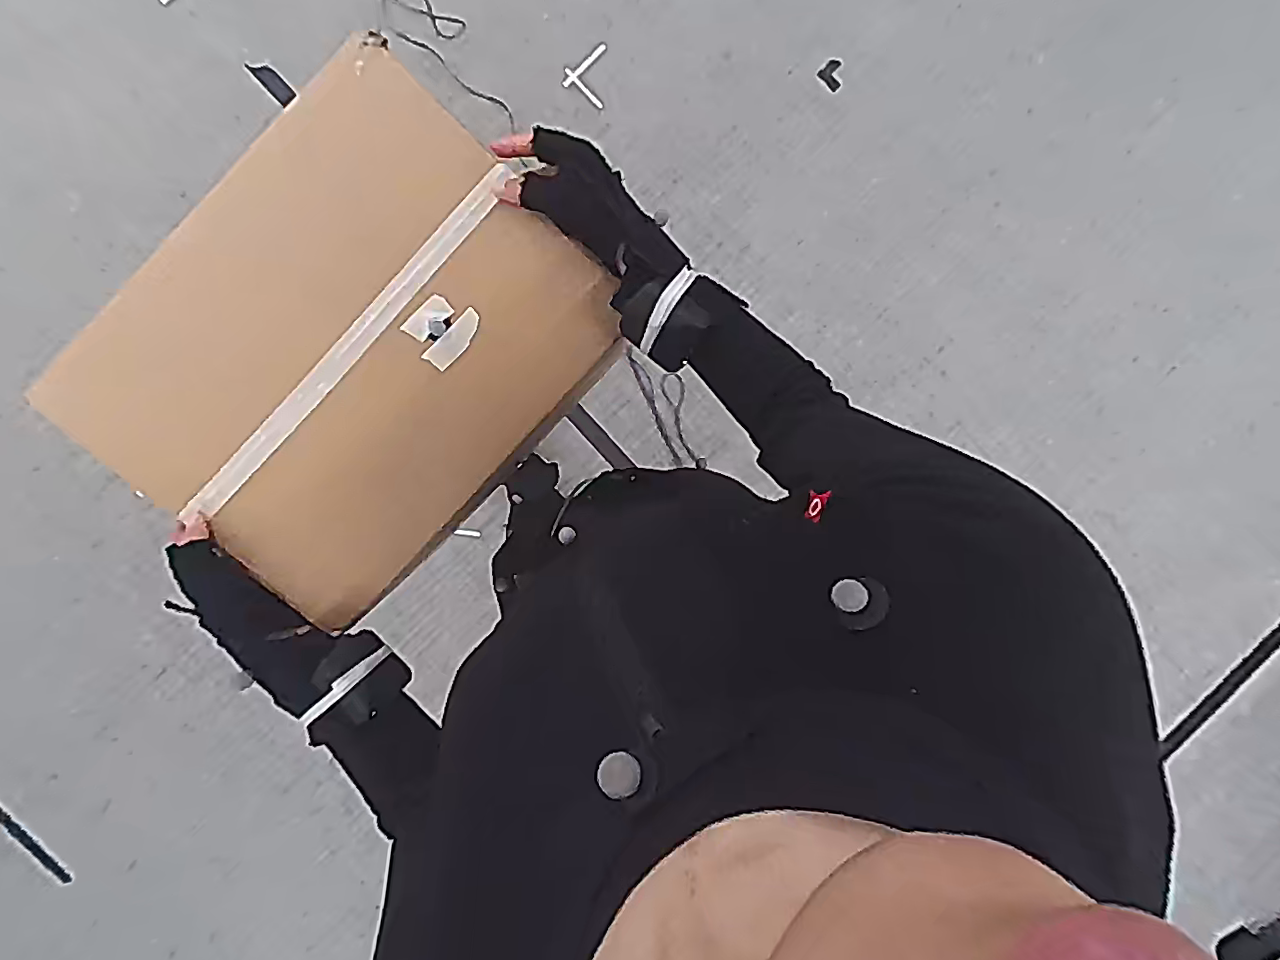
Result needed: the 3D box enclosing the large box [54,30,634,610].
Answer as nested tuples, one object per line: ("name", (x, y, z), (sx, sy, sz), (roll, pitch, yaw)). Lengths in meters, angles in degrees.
("large box", (-0.262, -0.139, 0.614), (0.320, 0.320, 0.408), (43, 90, -10))
